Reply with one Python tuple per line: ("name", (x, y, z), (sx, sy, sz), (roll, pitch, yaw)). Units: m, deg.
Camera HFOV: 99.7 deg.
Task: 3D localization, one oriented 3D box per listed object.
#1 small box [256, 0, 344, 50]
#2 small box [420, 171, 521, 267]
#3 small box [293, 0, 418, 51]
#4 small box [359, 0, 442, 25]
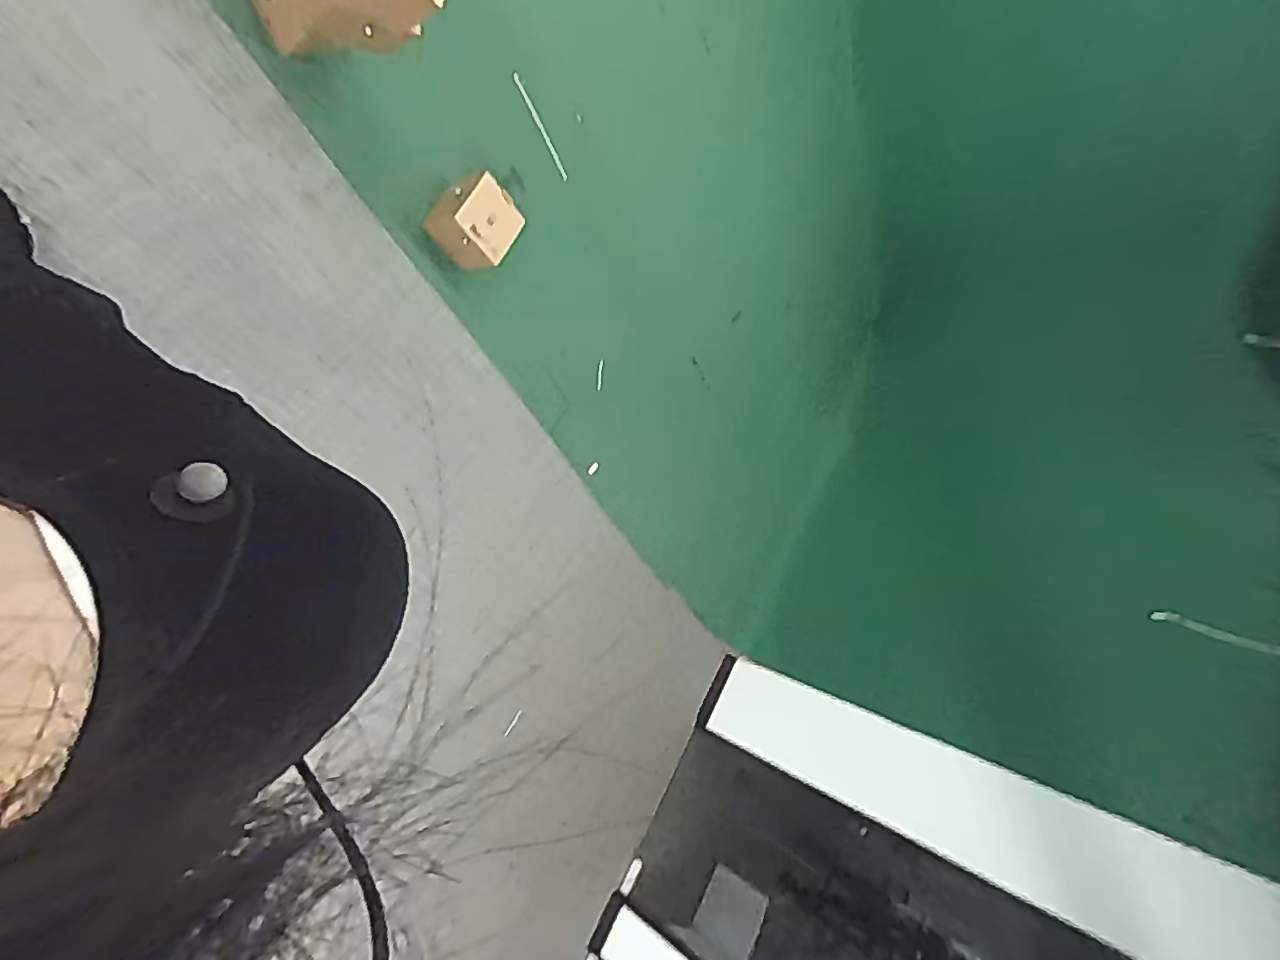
("small box", (-0.699, -1.031, 1.132), (0.179, 0.176, 0.168), (-44, 132, -35))
("small box", (-0.476, -0.722, 1.509), (0.168, 0.176, 0.179), (46, 64, -48))
("small box", (-0.564, -0.976, 1.053), (0.179, 0.176, 0.168), (-21, 118, -48))
("small box", (-0.441, -0.951, 0.947), (0.179, 0.176, 0.168), (26, 82, -51))
